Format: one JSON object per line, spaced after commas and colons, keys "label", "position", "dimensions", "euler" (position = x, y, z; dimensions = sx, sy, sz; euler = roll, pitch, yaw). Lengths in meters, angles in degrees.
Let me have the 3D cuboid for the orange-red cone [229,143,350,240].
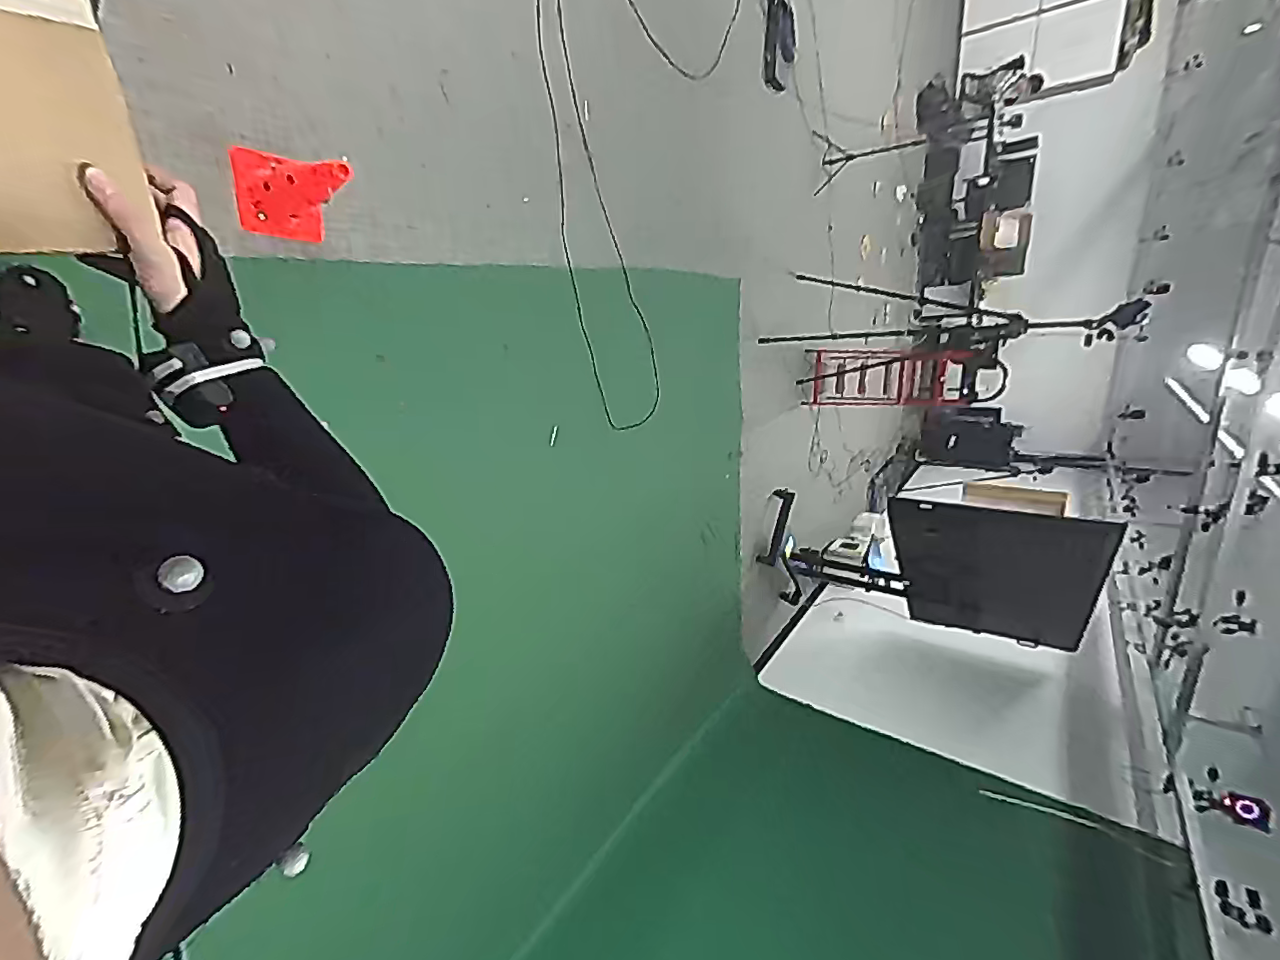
{"label": "orange-red cone", "position": [-0.810, -0.722, 1.314], "dimensions": [0.199, 0.360, 0.198], "euler": [-15, 110, -54]}
